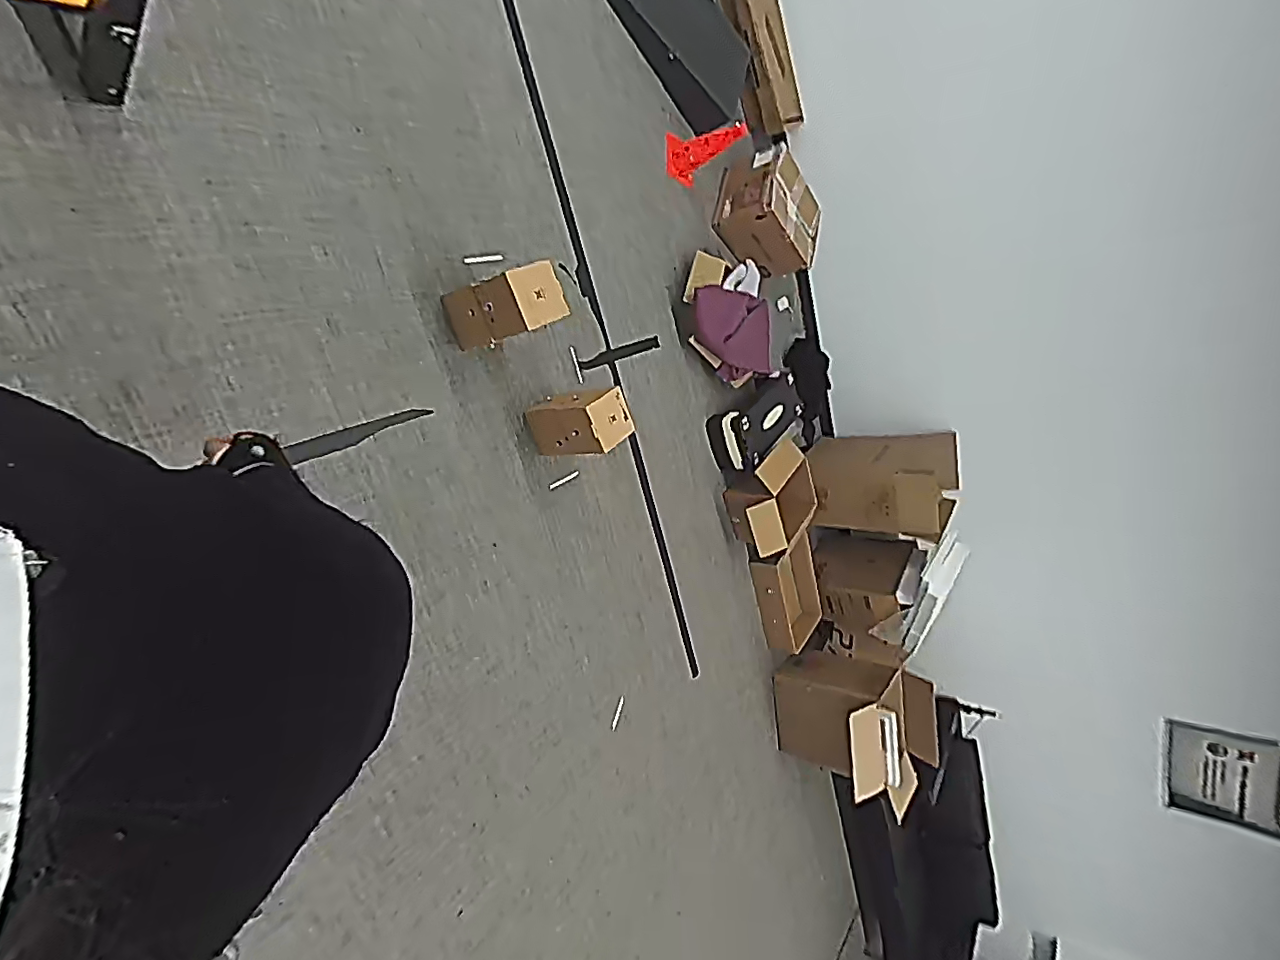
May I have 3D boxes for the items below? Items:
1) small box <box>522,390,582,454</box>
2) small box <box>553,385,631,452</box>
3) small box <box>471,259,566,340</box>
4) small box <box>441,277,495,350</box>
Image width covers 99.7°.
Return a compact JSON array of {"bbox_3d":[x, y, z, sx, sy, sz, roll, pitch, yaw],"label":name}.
[{"bbox_3d":[-0.284,-0.202,1.909,0.168,0.176,0.179,-40,119,-42],"label":"small box"},{"bbox_3d":[-0.167,-0.200,1.795,0.179,0.176,0.168,-41,120,-40],"label":"small box"},{"bbox_3d":[-0.355,-0.524,1.576,0.179,0.176,0.168,-39,117,-40],"label":"small box"},{"bbox_3d":[-0.485,-0.519,1.675,0.168,0.176,0.179,-36,117,-43],"label":"small box"}]
